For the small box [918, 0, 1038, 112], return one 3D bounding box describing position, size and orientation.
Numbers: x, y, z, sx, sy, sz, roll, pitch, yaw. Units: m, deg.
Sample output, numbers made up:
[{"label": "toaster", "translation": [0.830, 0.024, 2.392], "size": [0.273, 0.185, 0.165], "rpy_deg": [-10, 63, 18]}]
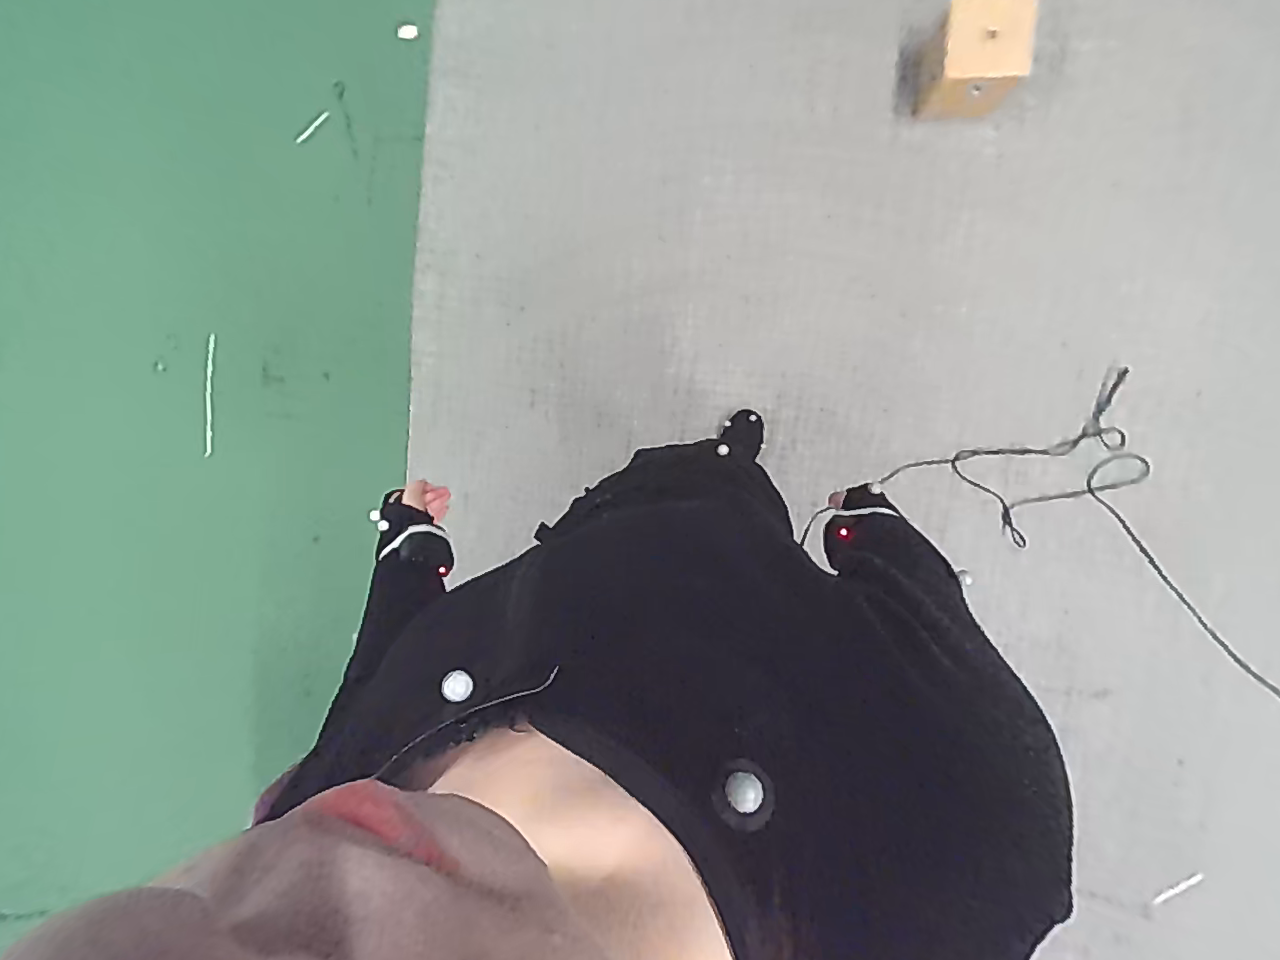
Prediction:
[{"label": "small box", "translation": [0.750, -0.959, 1.218], "size": [0.179, 0.176, 0.168], "rpy_deg": [4, 97, 7]}]
